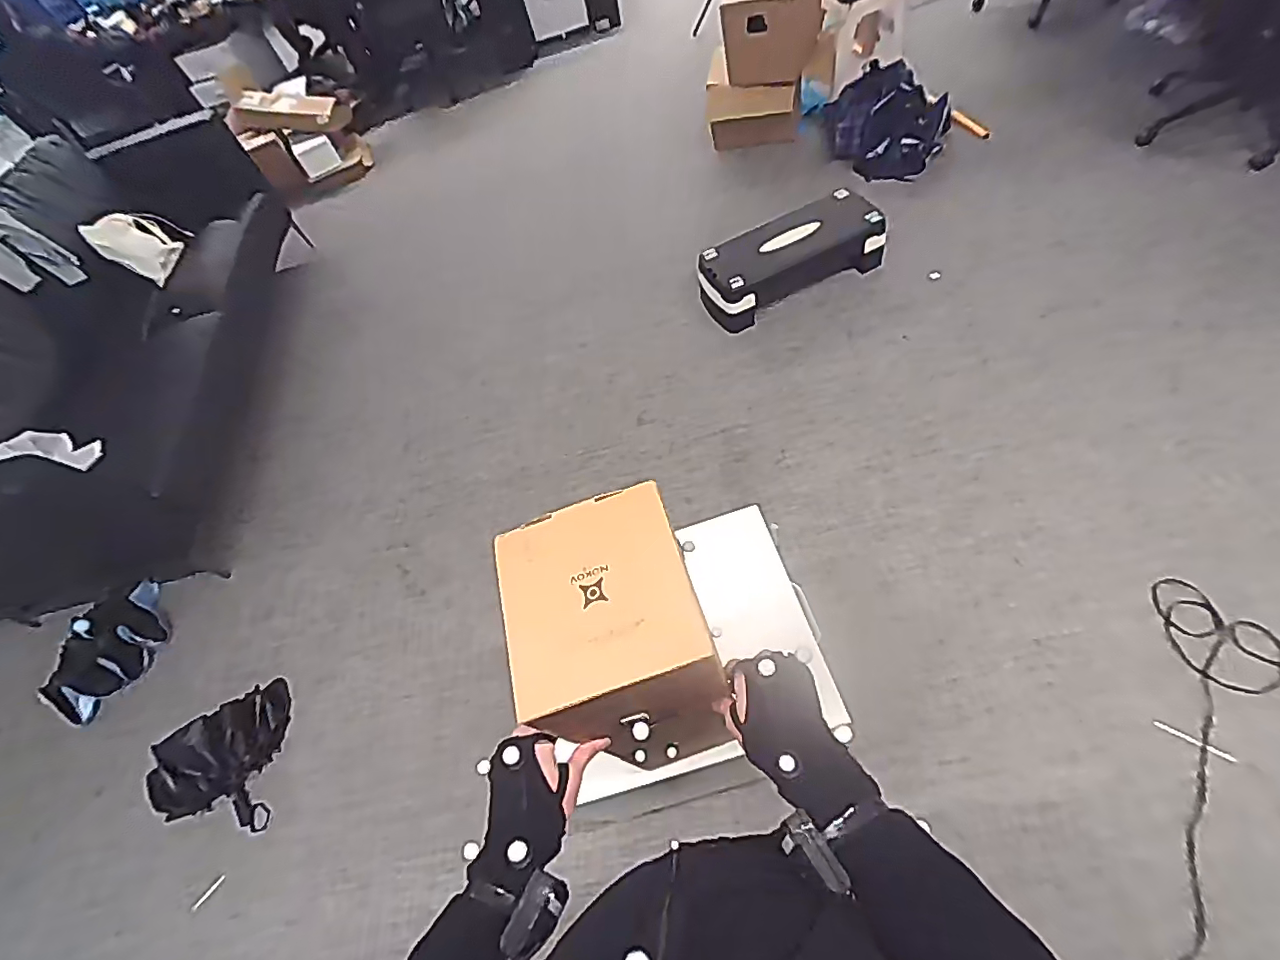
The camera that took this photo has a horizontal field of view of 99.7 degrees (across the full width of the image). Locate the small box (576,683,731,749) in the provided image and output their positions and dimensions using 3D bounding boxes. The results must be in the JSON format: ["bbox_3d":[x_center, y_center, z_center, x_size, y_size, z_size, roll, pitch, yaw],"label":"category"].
[{"bbox_3d":[0.006,0.218,0.671,0.168,0.176,0.179,-20,54,0],"label":"small box"}]

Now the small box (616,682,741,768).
[{"bbox_3d":[0.040,0.305,0.807,0.168,0.176,0.179,-22,55,1],"label":"small box"}]

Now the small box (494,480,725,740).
[{"bbox_3d":[-0.025,0.134,0.535,0.168,0.176,0.179,-21,56,1],"label":"small box"}]
